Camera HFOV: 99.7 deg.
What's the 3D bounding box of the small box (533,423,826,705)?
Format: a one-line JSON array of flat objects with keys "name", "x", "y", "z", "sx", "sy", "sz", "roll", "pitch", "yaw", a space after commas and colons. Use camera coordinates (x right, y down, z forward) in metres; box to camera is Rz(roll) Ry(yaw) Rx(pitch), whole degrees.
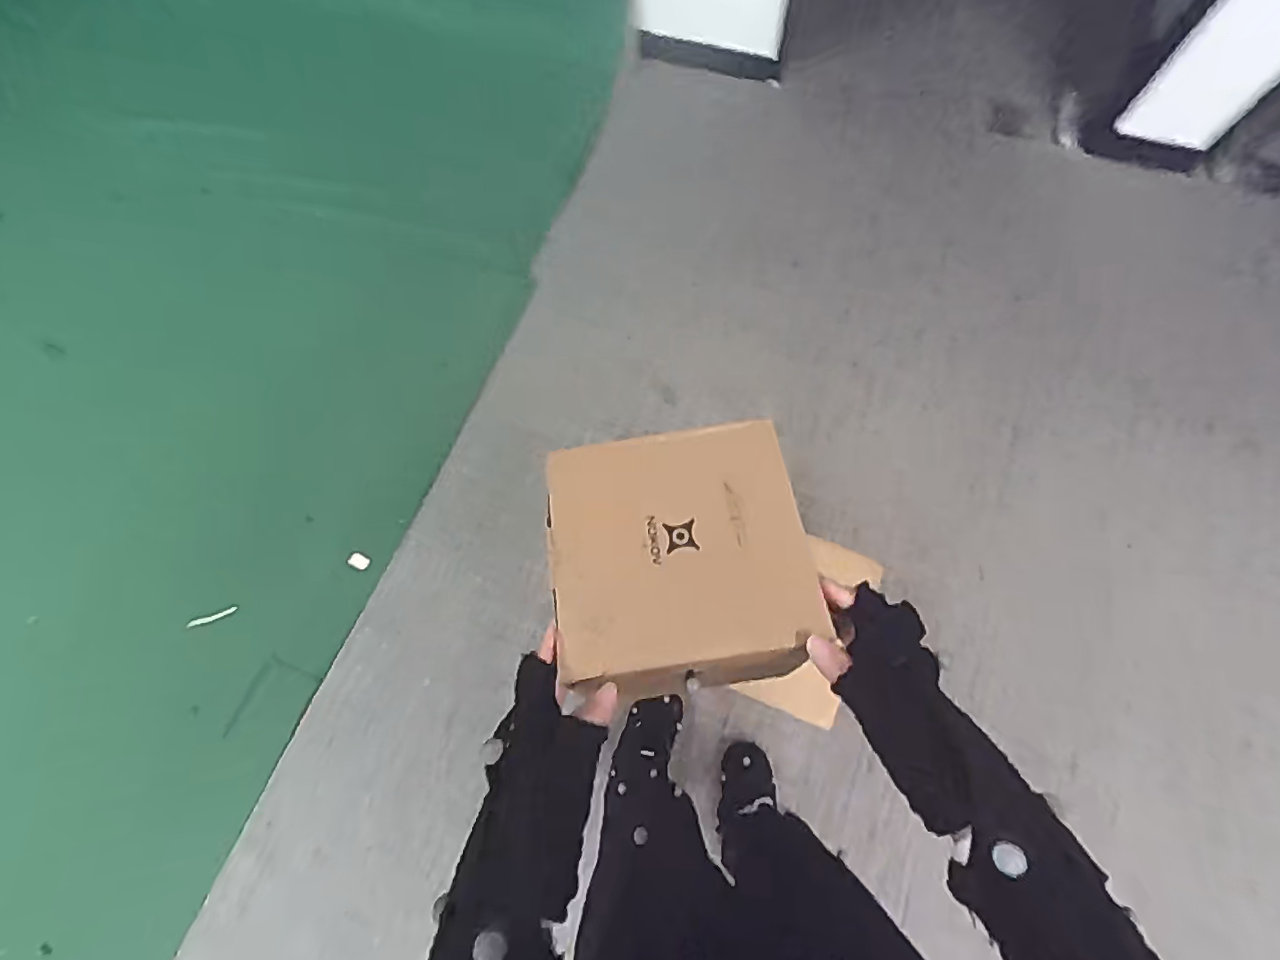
[{"name": "small box", "x": 0.024, "y": 0.079, "z": 0.439, "sx": 0.179, "sy": 0.176, "sz": 0.168, "roll": -11, "pitch": 65, "yaw": -2}]
